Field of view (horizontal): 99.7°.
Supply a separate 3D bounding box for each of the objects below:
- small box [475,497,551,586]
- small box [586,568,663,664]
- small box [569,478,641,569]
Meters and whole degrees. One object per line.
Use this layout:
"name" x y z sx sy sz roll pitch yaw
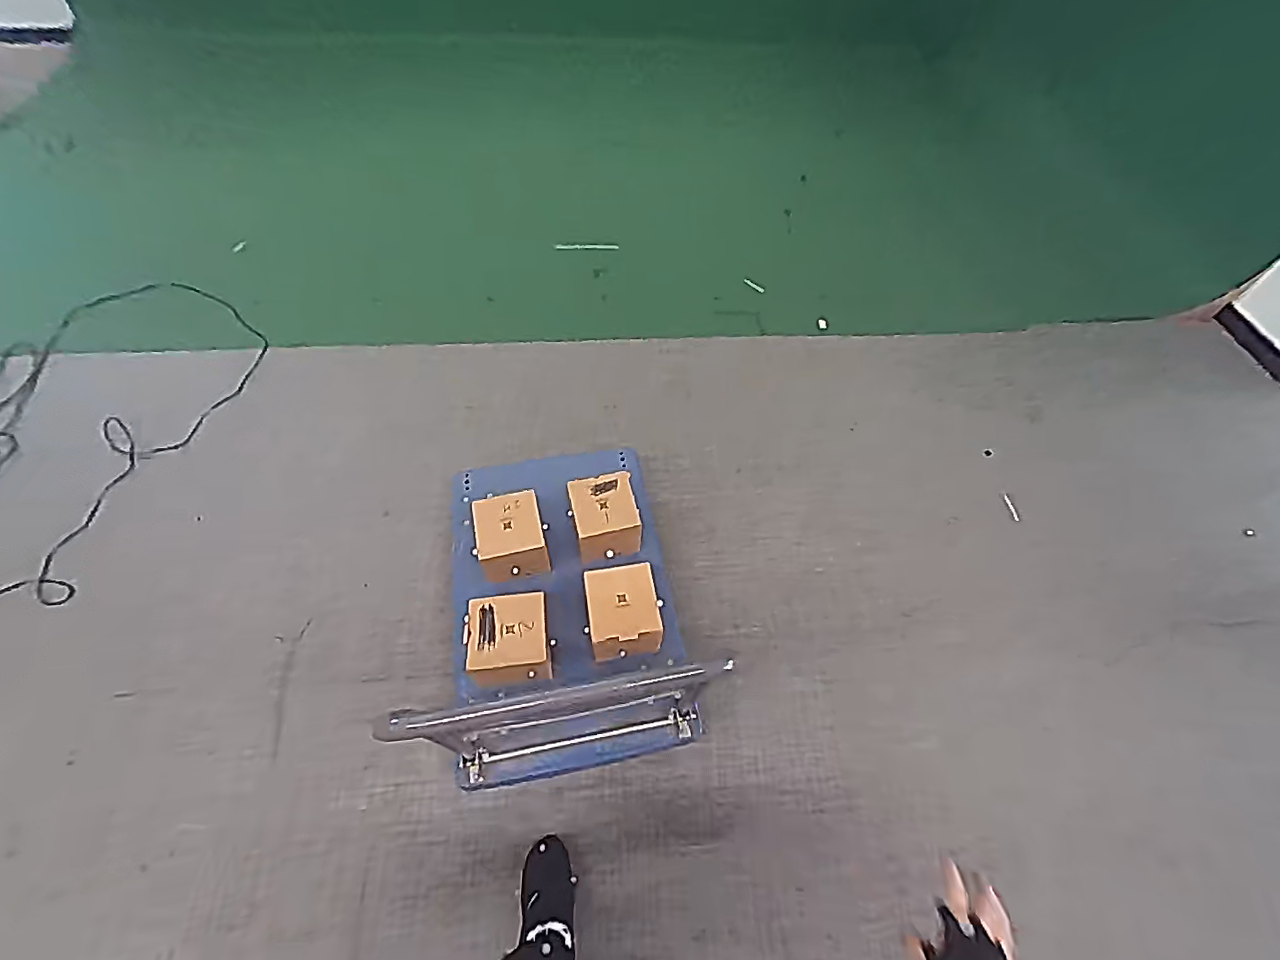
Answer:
"small box" -0.341 0.174 1.464 0.168 0.176 0.179 -11 57 -11
"small box" -0.045 0.346 1.363 0.168 0.176 0.179 -7 57 -8
"small box" -0.098 0.123 1.507 0.168 0.176 0.179 -12 59 -9
